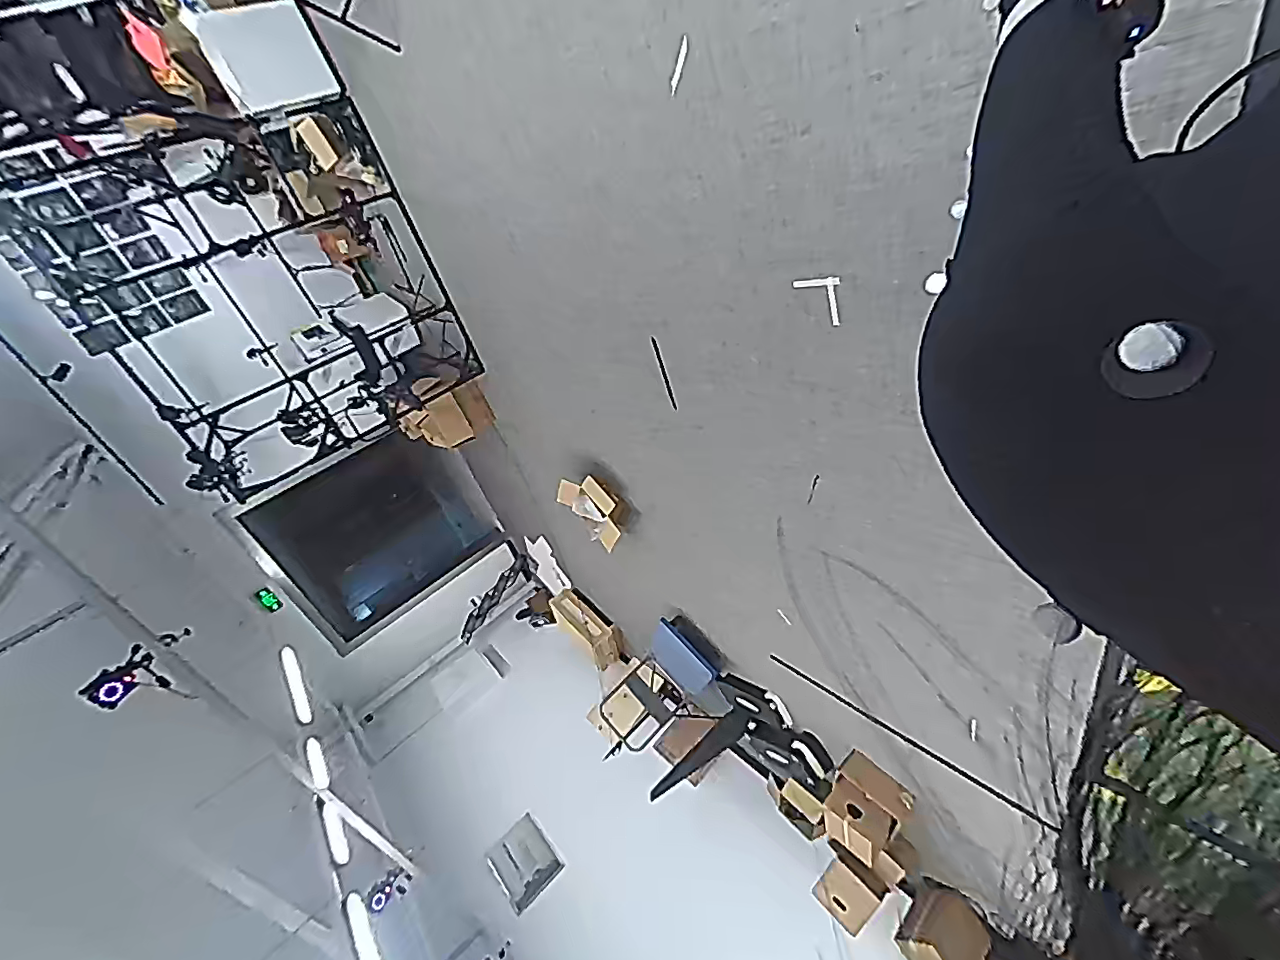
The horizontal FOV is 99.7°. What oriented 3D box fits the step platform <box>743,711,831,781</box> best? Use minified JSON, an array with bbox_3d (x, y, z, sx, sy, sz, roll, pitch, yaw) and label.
[{"bbox_3d":[1.049,1.933,3.948,0.286,0.204,0.684,56,154,-6],"label":"step platform"}]
